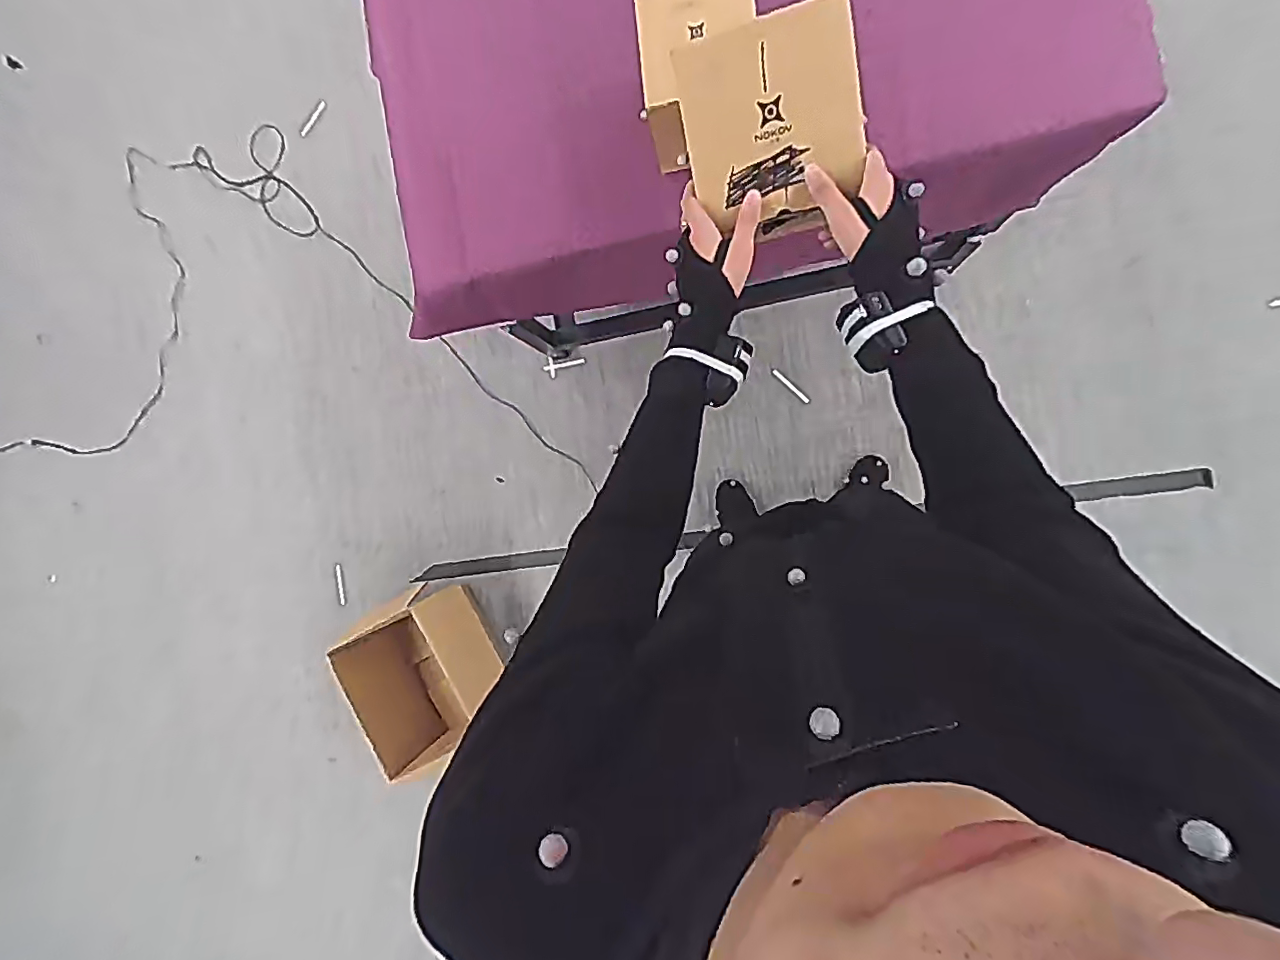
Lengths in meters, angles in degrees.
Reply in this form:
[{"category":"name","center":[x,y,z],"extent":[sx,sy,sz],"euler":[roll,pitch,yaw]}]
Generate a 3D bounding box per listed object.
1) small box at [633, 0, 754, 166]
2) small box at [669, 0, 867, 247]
[{"category":"small box","center":[0.091,-0.612,0.825],"extent":[0.168,0.176,0.179],"euler":[-6,89,10]},{"category":"small box","center":[0.136,-0.365,0.590],"extent":[0.168,0.176,0.179],"euler":[-10,105,12]}]
